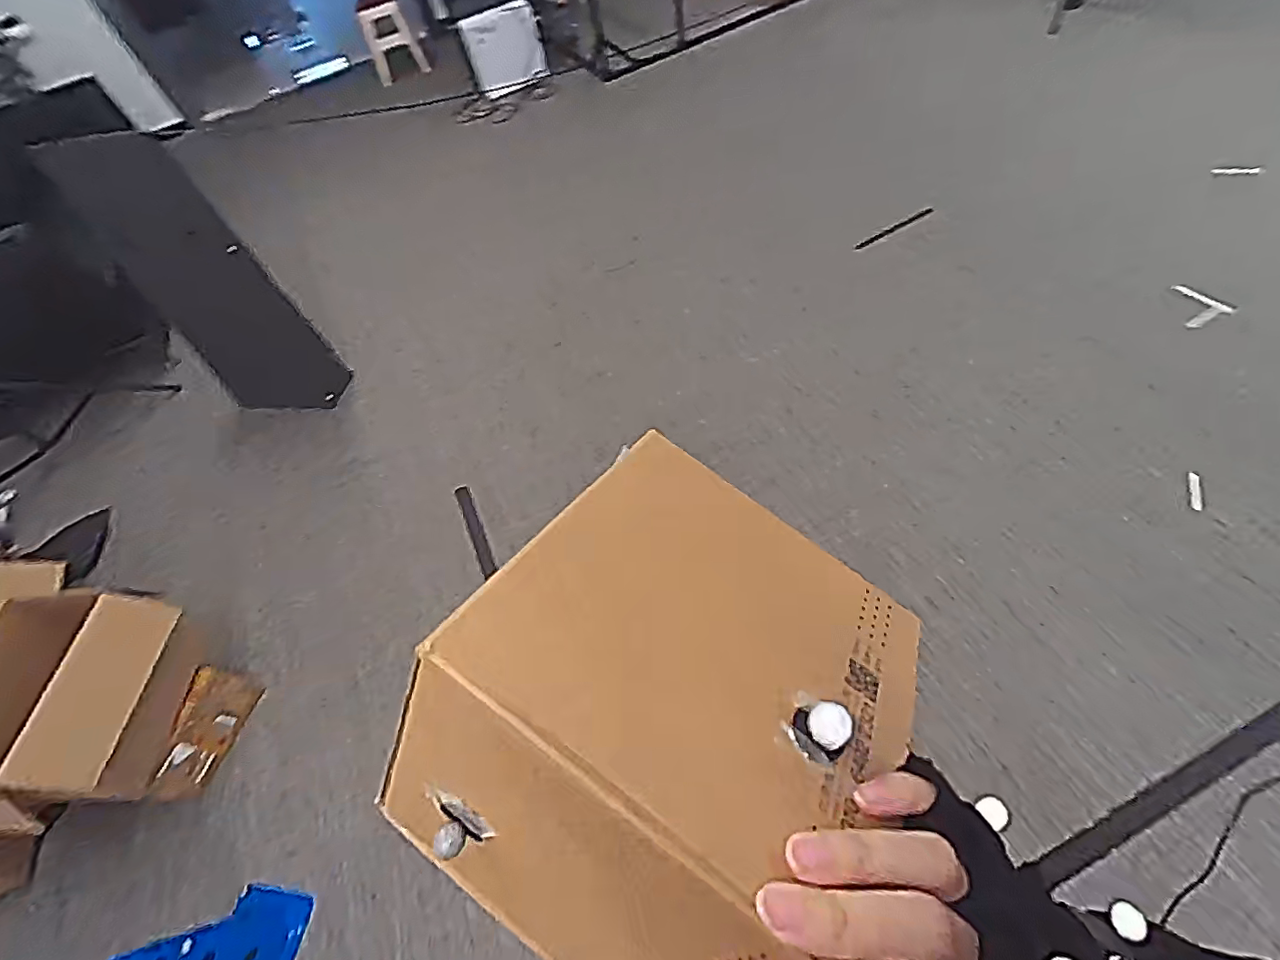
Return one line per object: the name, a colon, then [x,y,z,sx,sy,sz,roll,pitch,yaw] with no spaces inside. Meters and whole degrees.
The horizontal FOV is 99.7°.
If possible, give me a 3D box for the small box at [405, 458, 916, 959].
small box: [0.009,0.128,0.285,0.176,0.179,0.168,36,40,6]
